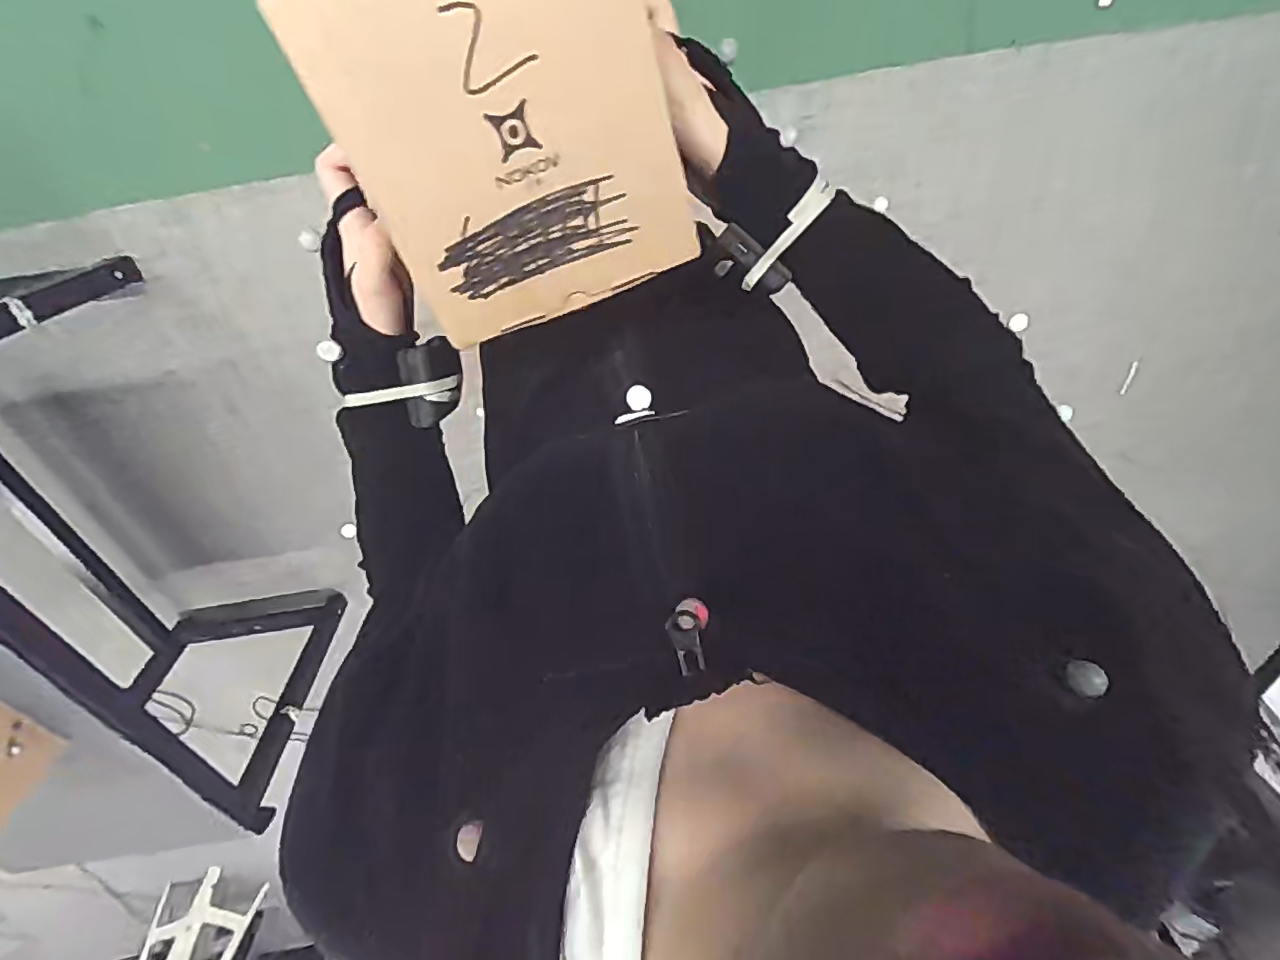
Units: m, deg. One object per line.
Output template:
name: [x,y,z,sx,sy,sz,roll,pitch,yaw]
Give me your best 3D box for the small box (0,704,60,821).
small box: [-1.183,0.506,0.919,0.179,0.176,0.168,-10,127,1]
